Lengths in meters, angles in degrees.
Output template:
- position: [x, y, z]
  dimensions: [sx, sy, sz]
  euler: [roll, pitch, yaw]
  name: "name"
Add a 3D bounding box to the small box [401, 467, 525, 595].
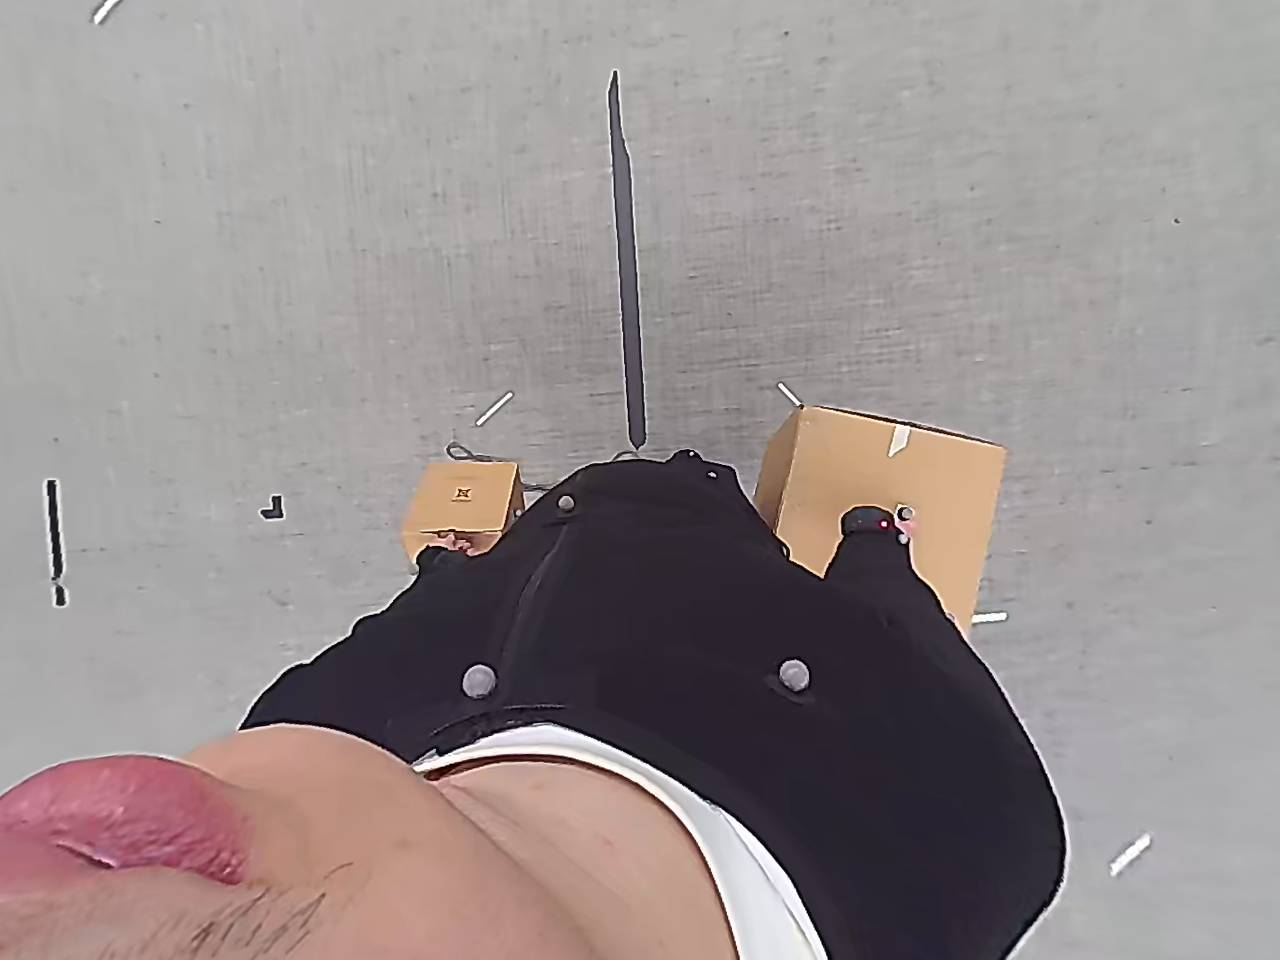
- position: [-0.307, 0.095, 0.982]
  dimensions: [0.168, 0.179, 0.176]
  euler: [0, 131, -3]
  name: "small box"
